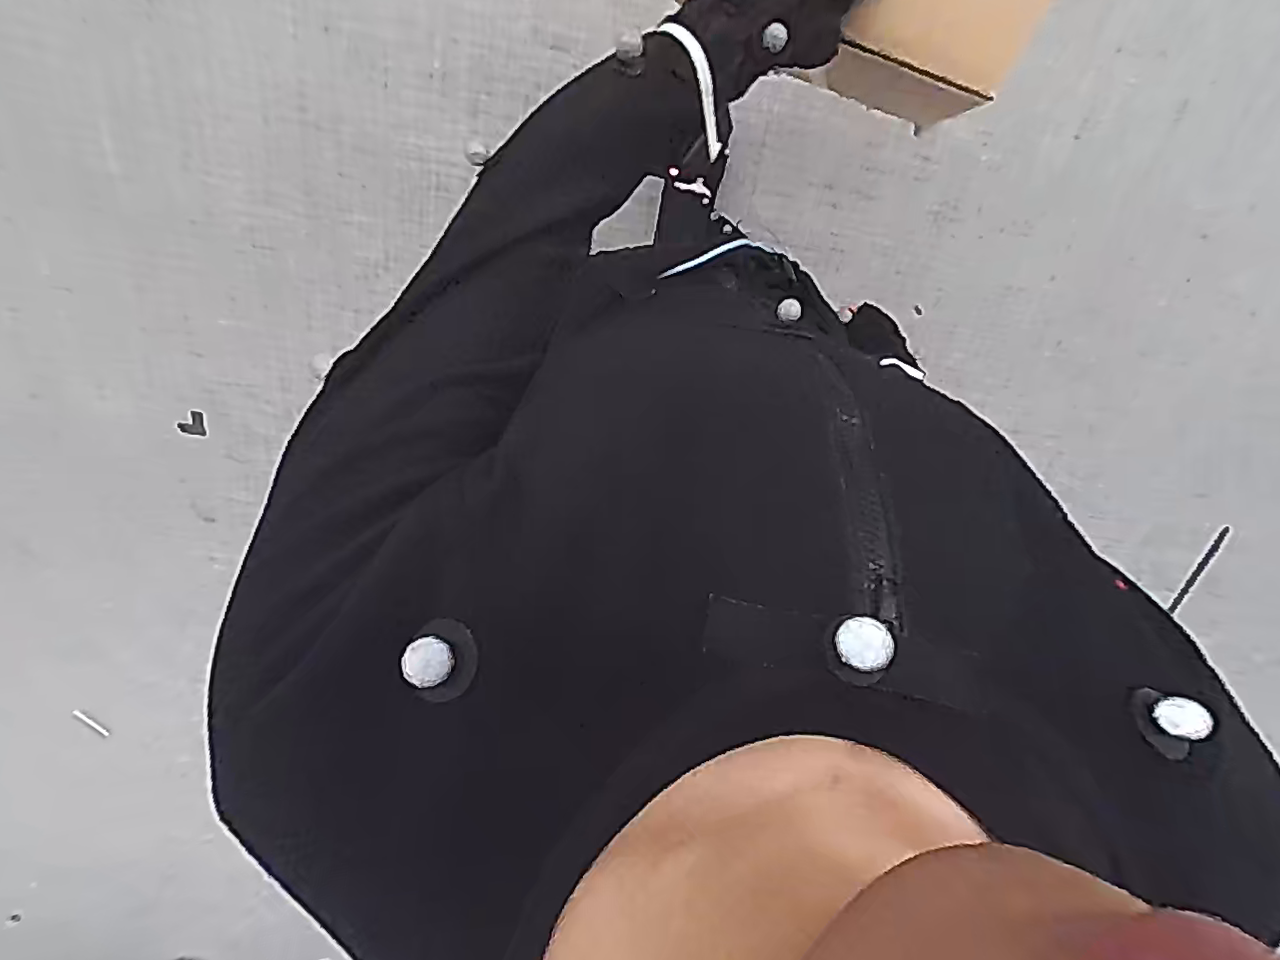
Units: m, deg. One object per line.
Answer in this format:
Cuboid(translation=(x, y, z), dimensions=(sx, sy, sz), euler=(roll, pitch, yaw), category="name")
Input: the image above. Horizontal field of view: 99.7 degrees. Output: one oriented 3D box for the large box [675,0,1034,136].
Cuboid(translation=(0.240, -0.556, 0.497), dimensions=(0.320, 0.408, 0.320), euler=(29, 125, 5), category="large box")
